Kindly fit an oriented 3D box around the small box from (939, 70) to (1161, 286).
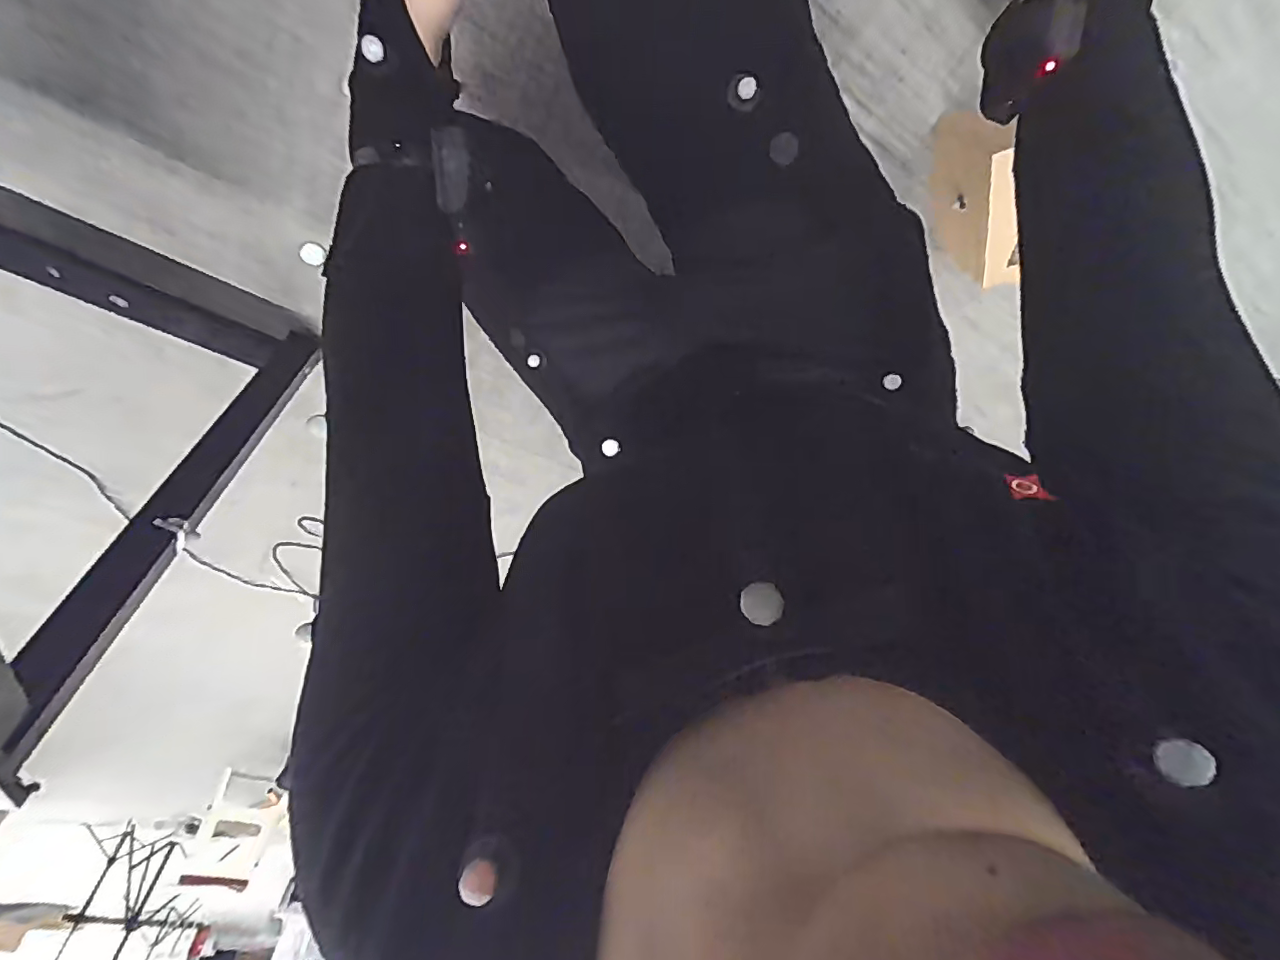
[{"bbox_3d":[0.509,-0.392,0.707,0.168,0.176,0.179,-14,133,15],"label":"small box"}]
